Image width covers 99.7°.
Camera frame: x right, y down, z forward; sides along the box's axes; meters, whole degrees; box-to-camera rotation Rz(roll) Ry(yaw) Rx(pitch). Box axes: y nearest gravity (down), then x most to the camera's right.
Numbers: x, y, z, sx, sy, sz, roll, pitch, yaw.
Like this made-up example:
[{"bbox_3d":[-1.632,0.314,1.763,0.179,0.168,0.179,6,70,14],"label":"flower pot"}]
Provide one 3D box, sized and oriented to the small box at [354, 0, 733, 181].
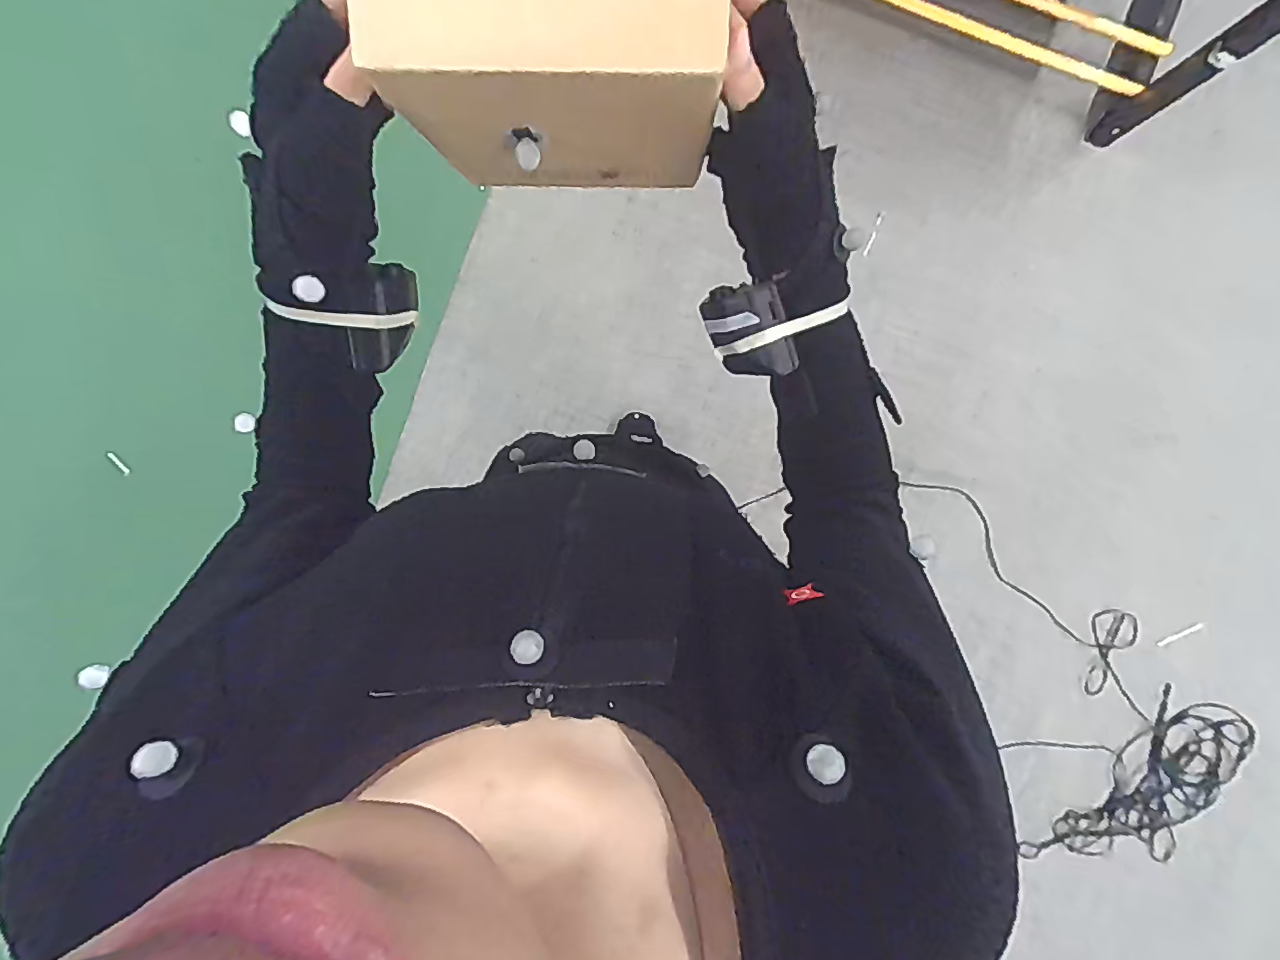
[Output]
[{"bbox_3d":[-0.037,-0.281,0.293,0.168,0.176,0.179,1,101,1],"label":"small box"}]
